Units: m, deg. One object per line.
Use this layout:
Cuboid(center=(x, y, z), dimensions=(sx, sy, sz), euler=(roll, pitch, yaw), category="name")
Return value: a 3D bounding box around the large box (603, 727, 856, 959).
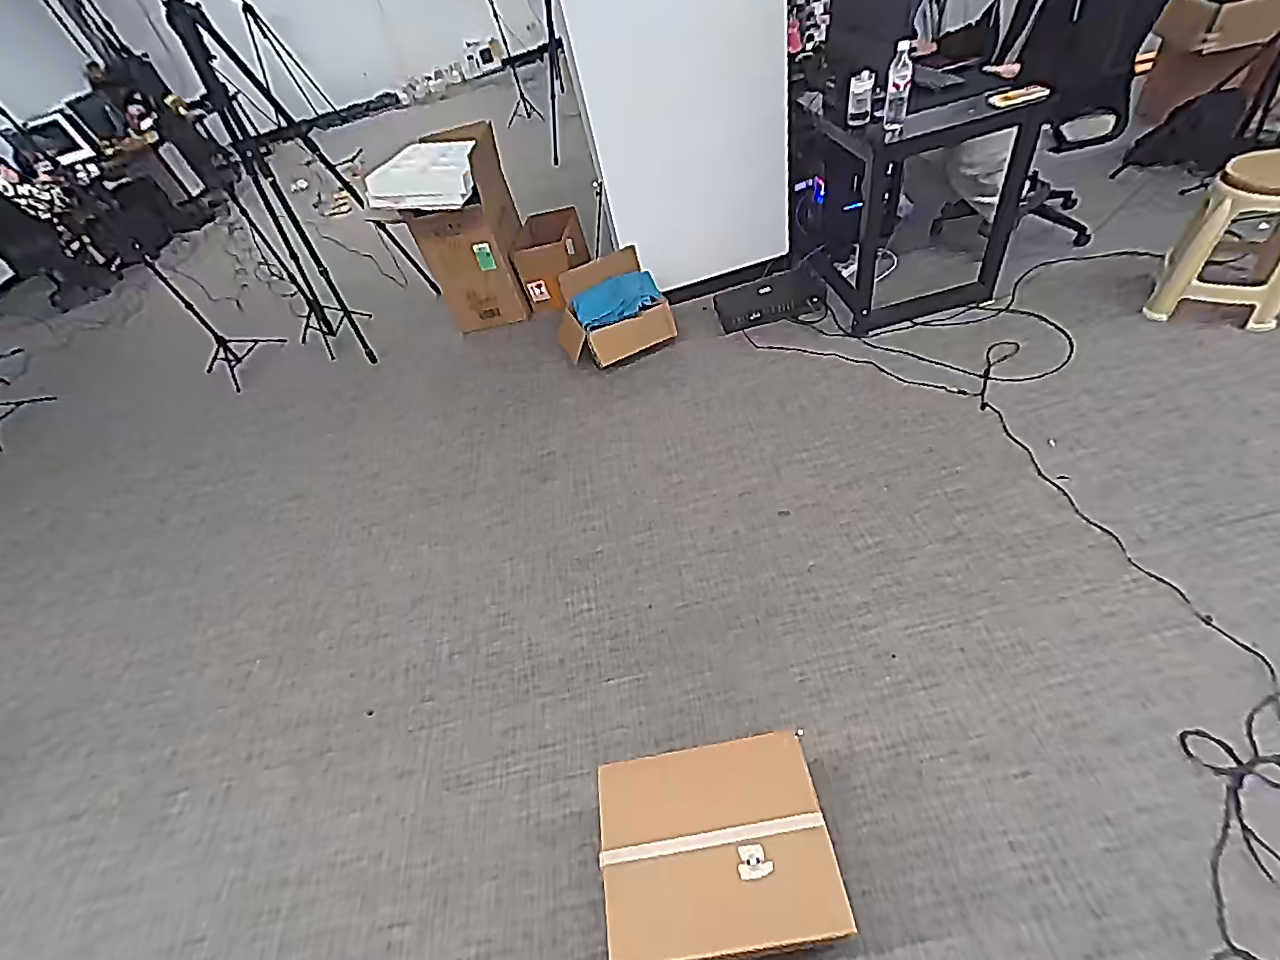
Cuboid(center=(0.163, 0.739, 1.078), dimensions=(0.408, 0.320, 0.320), euler=(-13, 47, 4), category="large box")
